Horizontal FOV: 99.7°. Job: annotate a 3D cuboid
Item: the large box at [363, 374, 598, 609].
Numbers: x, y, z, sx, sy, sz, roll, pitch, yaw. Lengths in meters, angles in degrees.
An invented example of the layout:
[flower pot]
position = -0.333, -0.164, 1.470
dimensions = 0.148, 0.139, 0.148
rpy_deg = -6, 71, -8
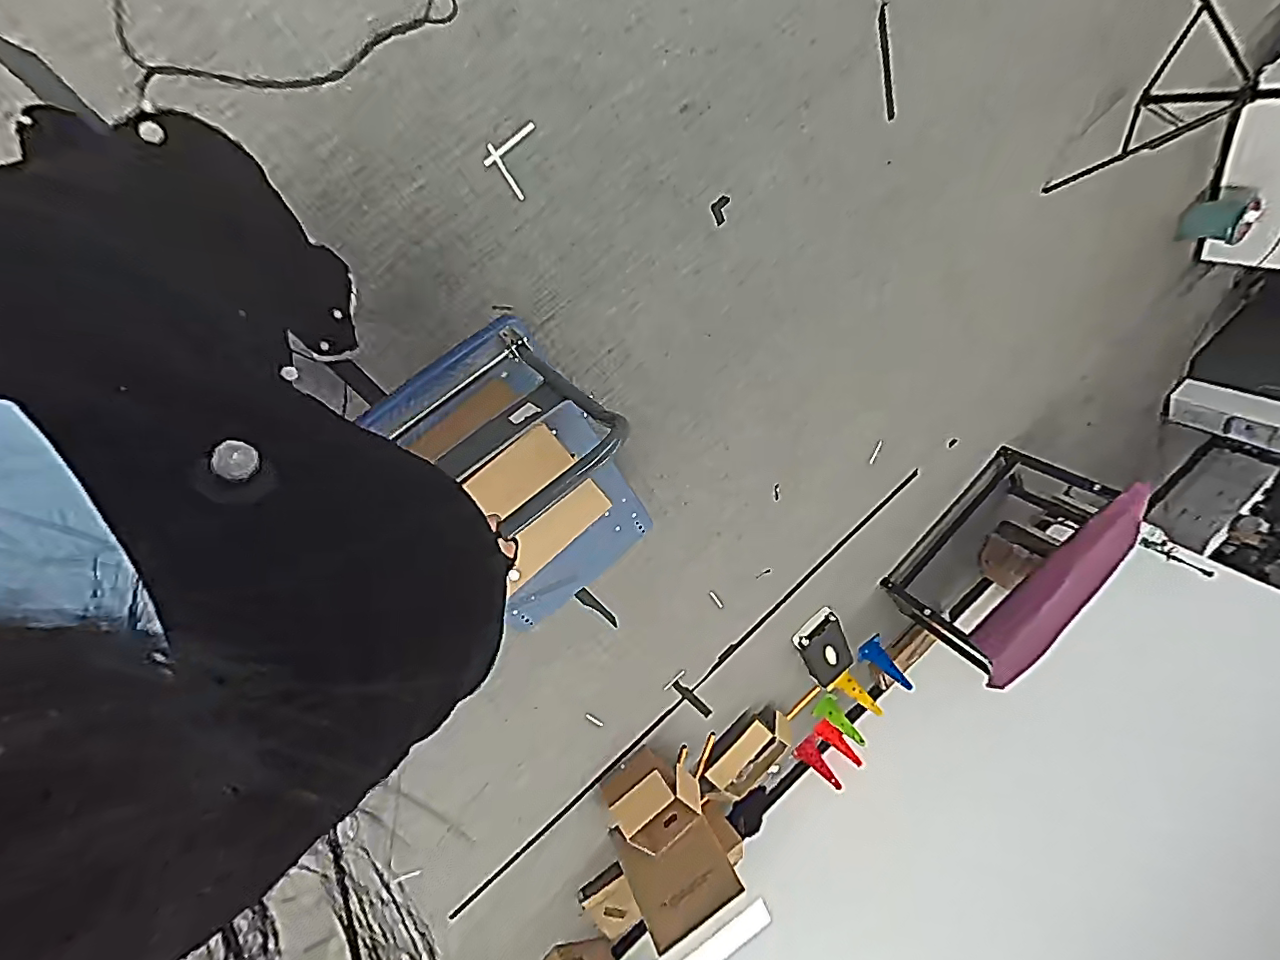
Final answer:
[large box]
position = -0.385, 0.019, 1.309
dimensions = 0.408, 0.320, 0.320
rpy_deg = -41, 131, -5
